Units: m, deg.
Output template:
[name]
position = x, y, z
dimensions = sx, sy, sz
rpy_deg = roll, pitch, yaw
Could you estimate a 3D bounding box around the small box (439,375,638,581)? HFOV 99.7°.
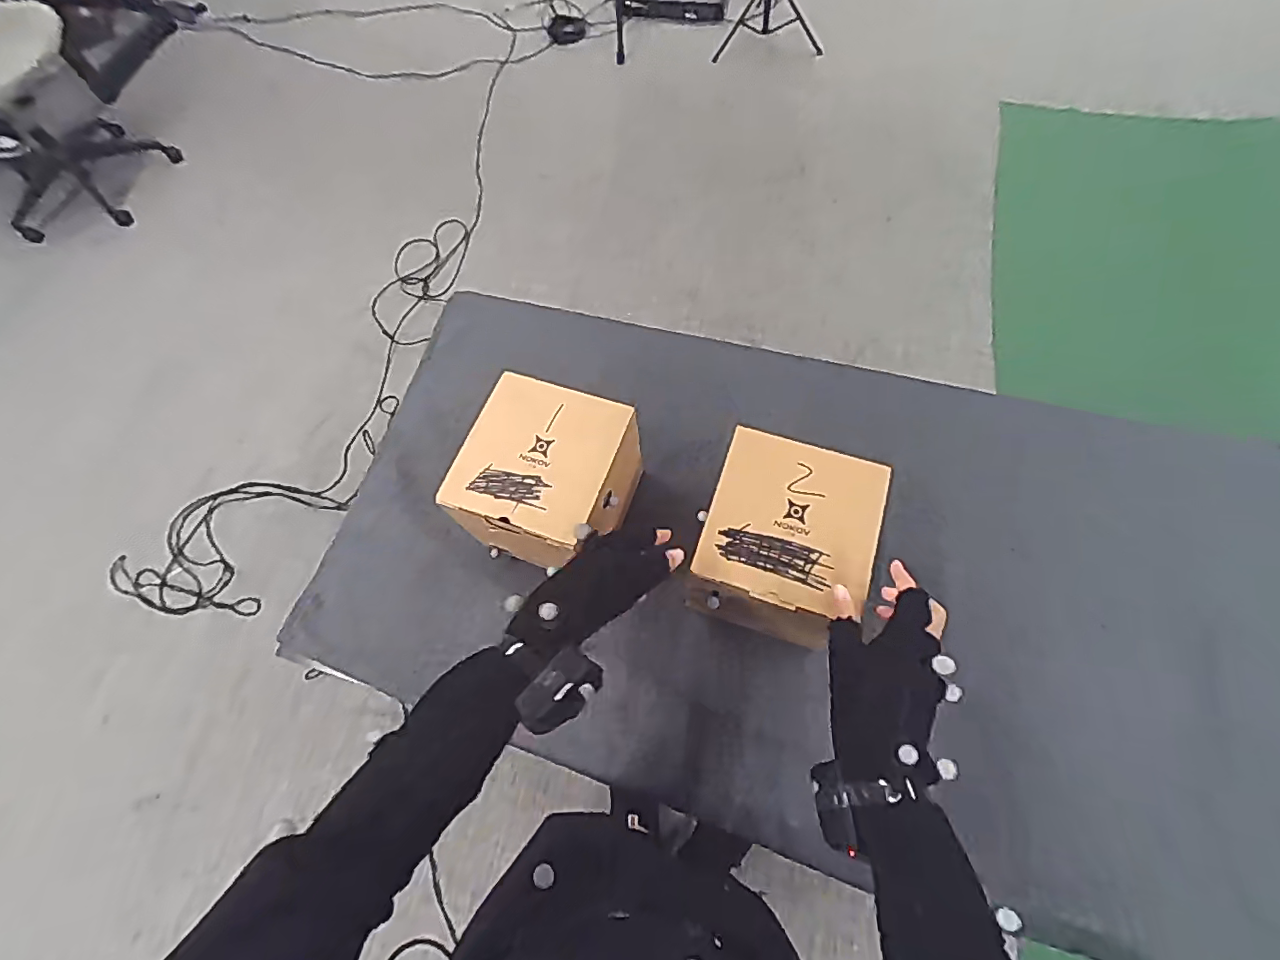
[small box]
position = -0.106, 0.006, 0.664
dimensions = 0.168, 0.176, 0.179
rpy_deg = 18, 67, 11
